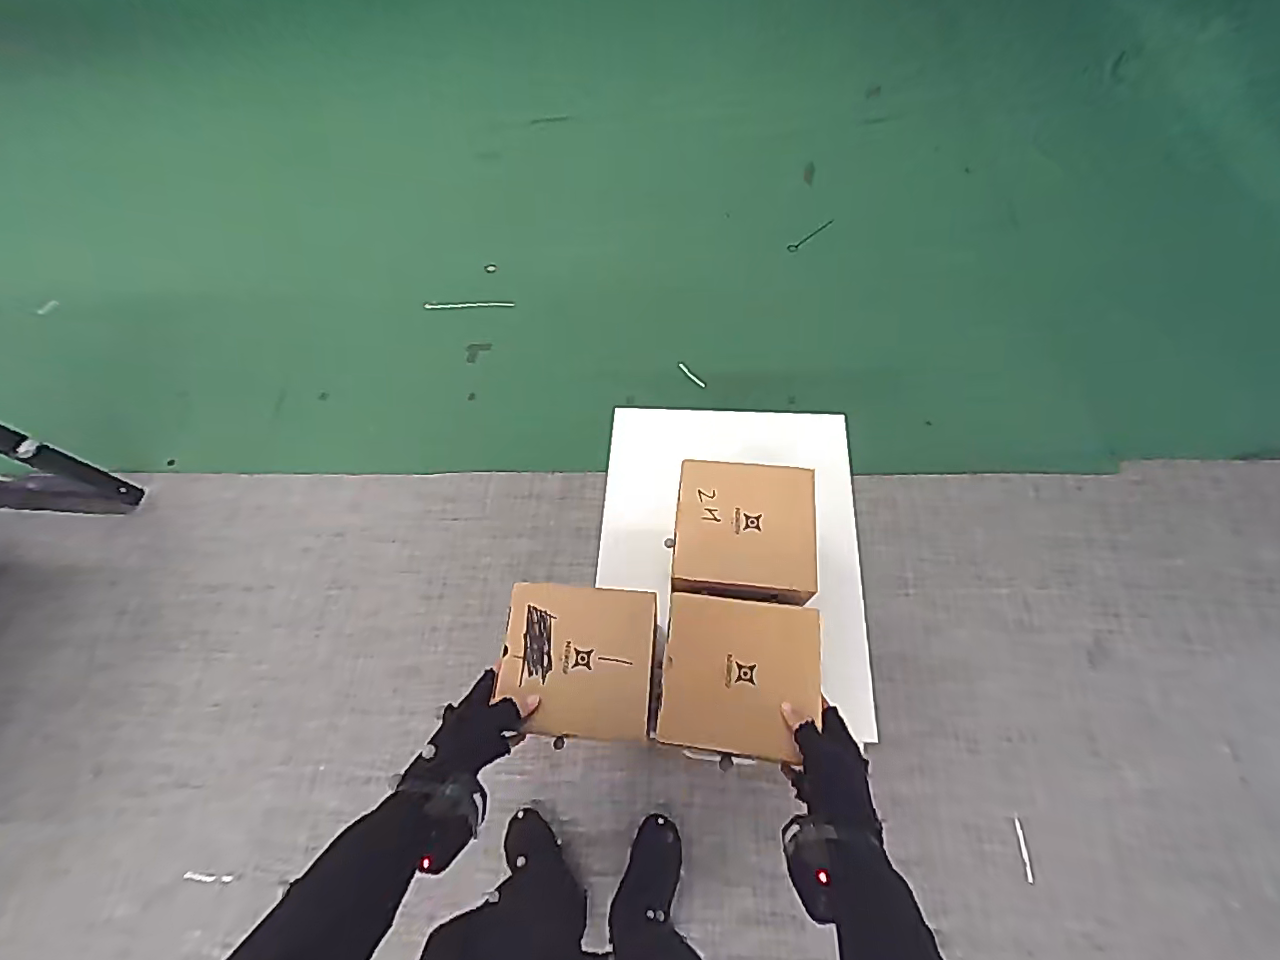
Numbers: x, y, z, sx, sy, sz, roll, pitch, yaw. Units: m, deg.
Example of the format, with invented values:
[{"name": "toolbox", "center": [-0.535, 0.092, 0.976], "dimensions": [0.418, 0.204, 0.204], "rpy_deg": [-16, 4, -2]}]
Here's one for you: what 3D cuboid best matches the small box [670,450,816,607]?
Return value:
[{"name": "small box", "center": [0.136, 0.075, 0.751], "dimensions": [0.179, 0.176, 0.168], "rpy_deg": [4, 64, 6]}]
